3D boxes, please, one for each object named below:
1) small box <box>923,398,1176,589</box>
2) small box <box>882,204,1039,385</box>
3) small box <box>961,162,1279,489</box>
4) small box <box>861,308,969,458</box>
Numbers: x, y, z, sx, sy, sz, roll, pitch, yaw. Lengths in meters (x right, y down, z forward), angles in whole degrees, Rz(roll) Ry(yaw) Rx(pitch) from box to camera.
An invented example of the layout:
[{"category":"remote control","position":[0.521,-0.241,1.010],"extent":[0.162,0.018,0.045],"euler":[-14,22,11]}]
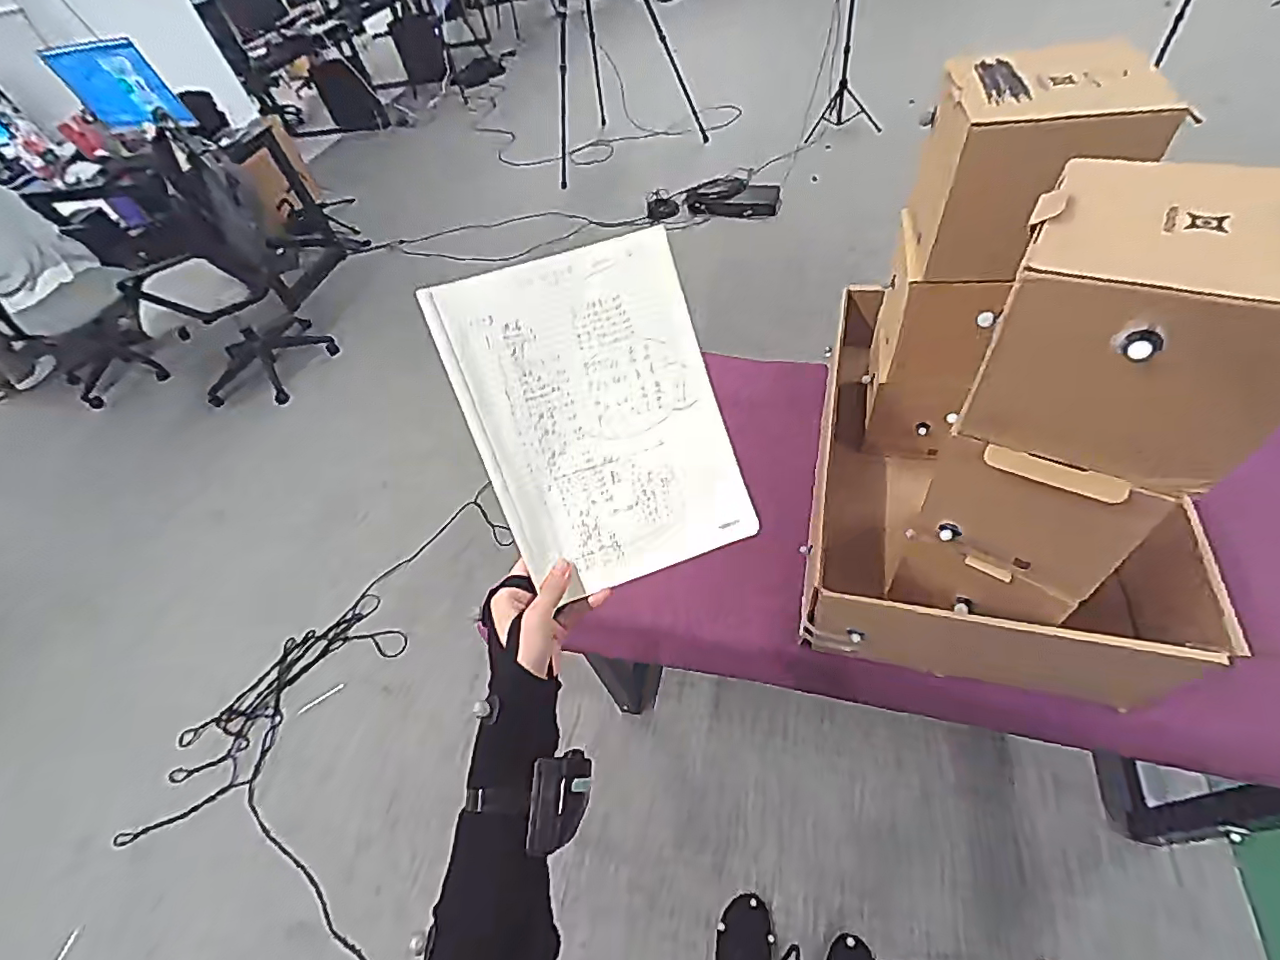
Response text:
[{"category":"small box","position":[0.408,-0.021,0.546],"extent":[0.168,0.176,0.179],"euler":[25,60,30]},{"category":"small box","position":[0.428,-0.242,0.723],"extent":[0.179,0.176,0.168],"euler":[5,55,15]},{"category":"small box","position":[0.380,-0.119,0.419],"extent":[0.179,0.176,0.168],"euler":[23,60,28]},{"category":"small box","position":[0.451,-0.149,0.853],"extent":[0.168,0.176,0.179],"euler":[7,56,17]}]
